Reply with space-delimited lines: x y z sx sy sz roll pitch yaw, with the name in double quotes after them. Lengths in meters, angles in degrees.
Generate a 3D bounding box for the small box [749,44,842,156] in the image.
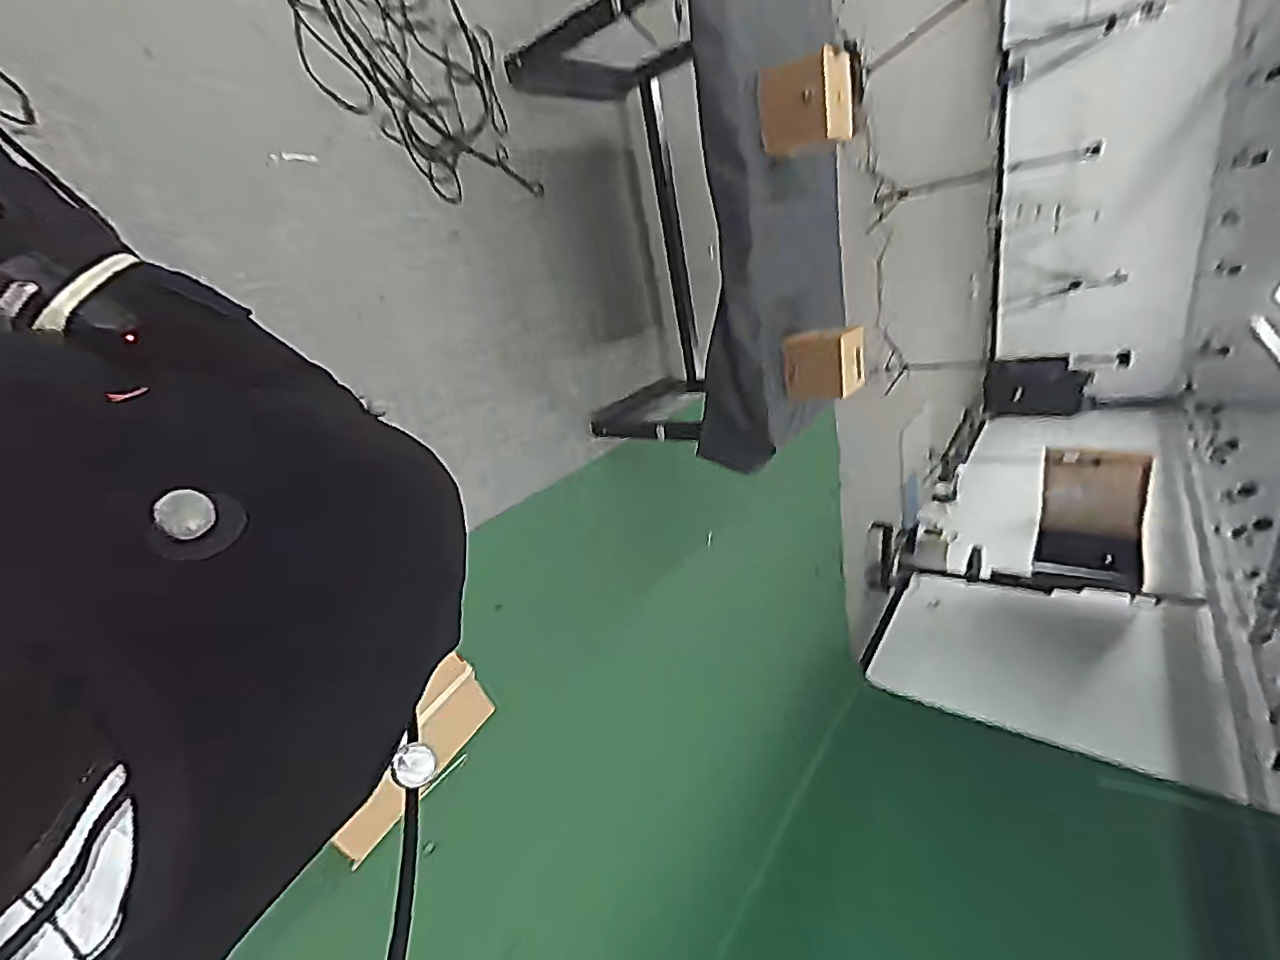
0.374 -0.906 1.306 0.168 0.176 0.179 -34 121 -43 "small box"
